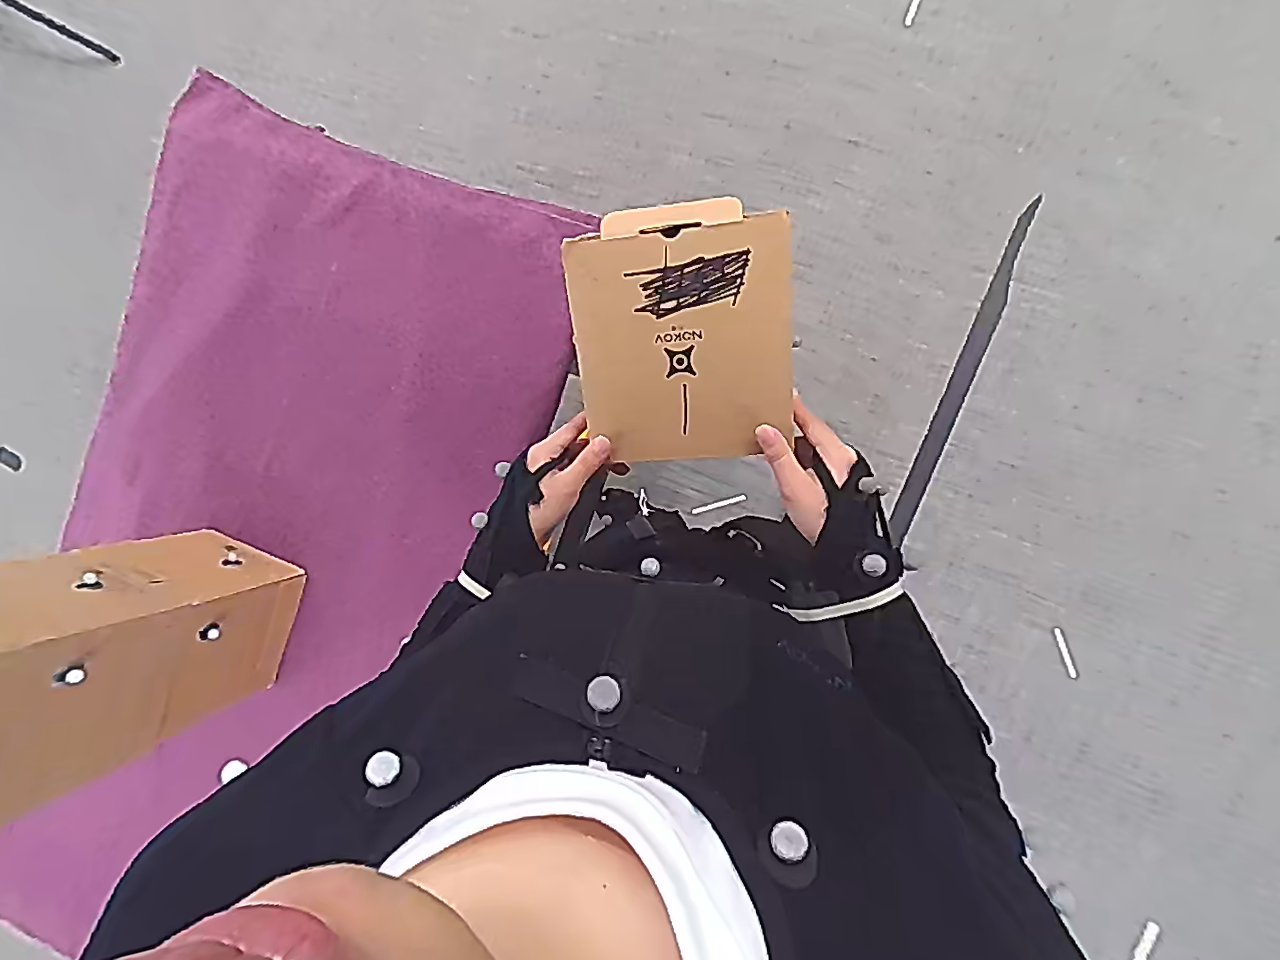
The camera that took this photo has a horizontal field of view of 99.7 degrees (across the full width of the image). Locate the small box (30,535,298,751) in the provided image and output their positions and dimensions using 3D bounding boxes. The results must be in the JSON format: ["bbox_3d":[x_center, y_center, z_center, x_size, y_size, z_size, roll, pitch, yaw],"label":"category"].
[{"bbox_3d":[-0.565,0.183,0.664,0.168,0.176,0.179,20,94,8],"label":"small box"}]

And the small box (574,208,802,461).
[{"bbox_3d":[0.049,-0.125,0.482,0.168,0.176,0.179,-3,109,10],"label":"small box"}]
